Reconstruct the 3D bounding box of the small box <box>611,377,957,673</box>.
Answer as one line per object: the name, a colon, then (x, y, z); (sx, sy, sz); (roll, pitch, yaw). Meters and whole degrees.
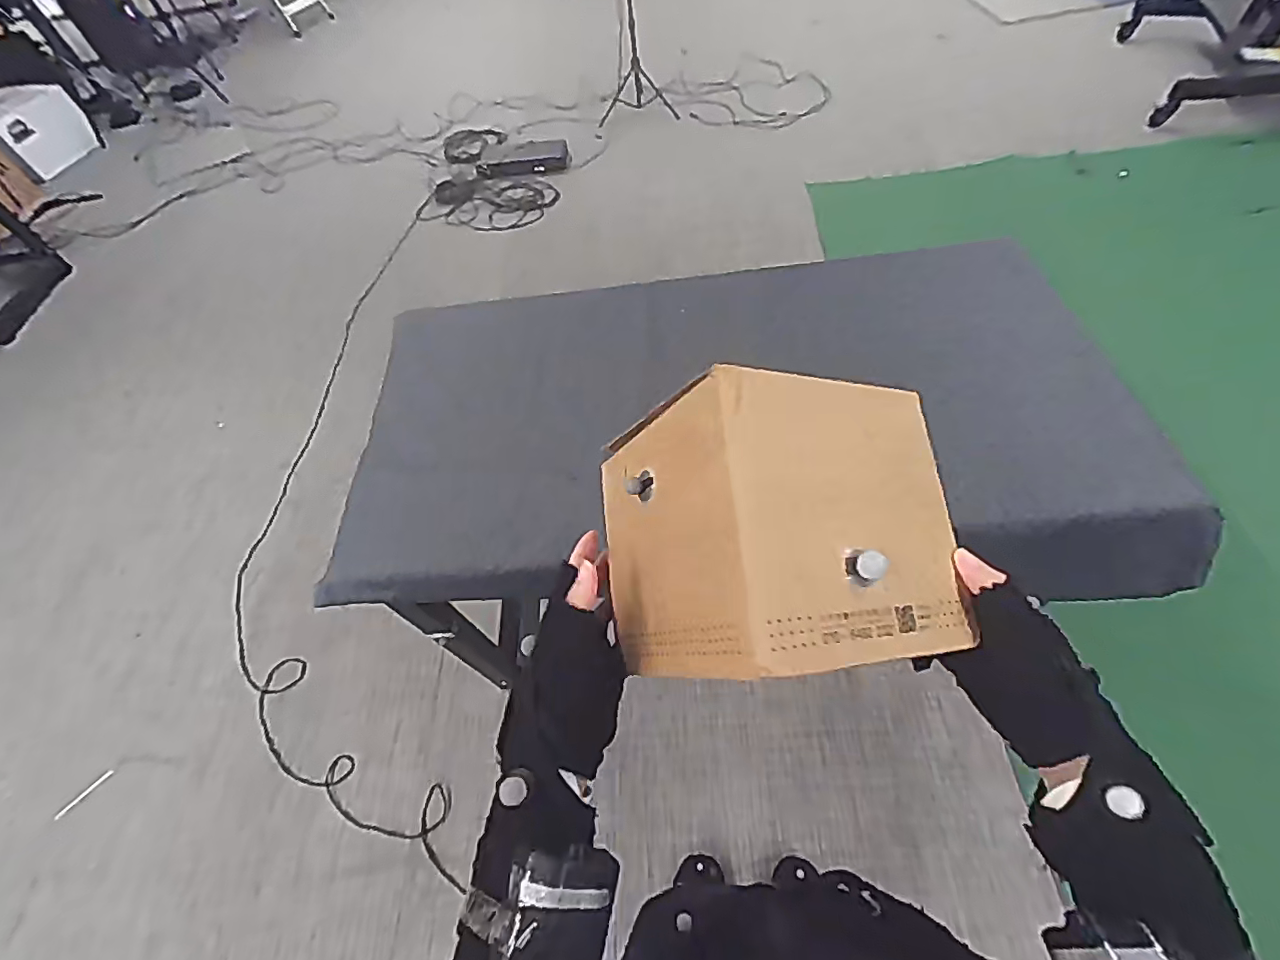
small box: (0.088, 0.046, 0.398); (0.168, 0.179, 0.176); (2, 73, -26)
